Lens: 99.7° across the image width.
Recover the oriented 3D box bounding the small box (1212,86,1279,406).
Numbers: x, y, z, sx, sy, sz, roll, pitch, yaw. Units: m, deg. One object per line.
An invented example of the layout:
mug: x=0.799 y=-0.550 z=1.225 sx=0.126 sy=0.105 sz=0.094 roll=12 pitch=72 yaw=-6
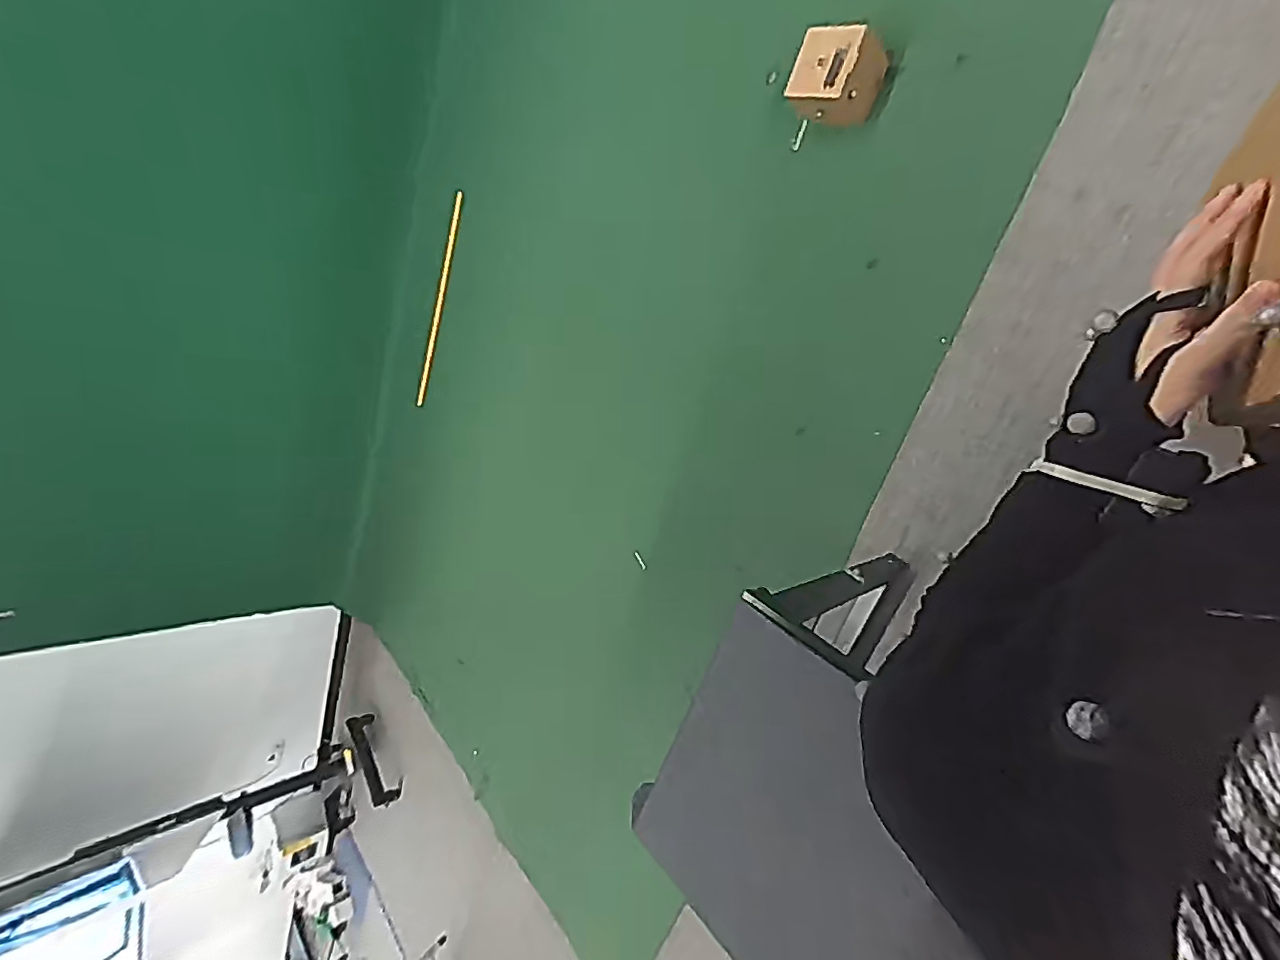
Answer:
small box: x=0.431 y=-0.143 z=0.272 sx=0.168 sy=0.176 sz=0.179 roll=-2 pitch=87 yaw=34
